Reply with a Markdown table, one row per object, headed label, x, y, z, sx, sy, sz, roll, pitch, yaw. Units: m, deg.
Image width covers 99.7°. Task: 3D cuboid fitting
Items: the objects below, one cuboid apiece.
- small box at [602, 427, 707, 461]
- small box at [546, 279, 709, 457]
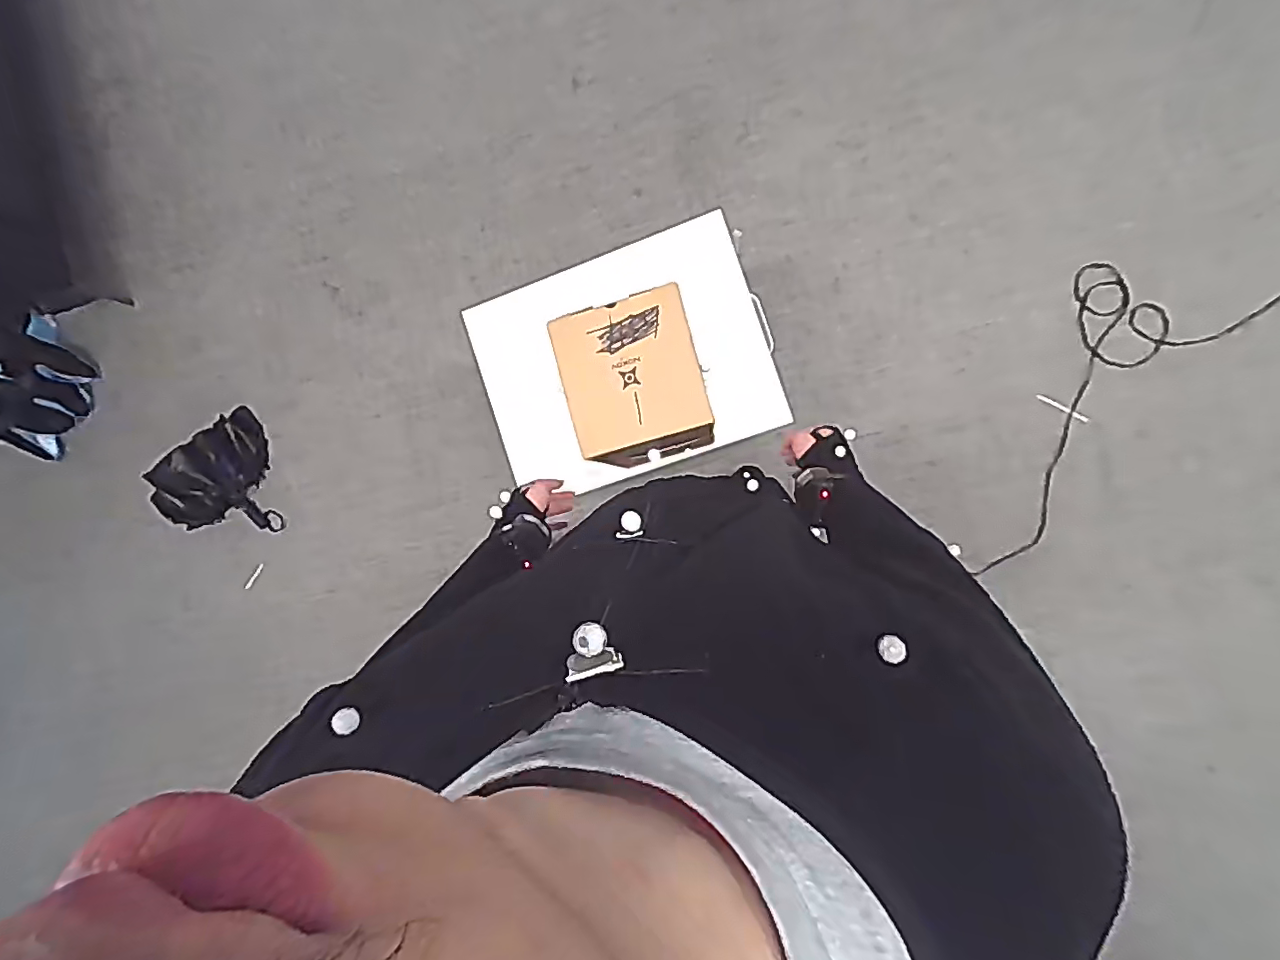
| label | x | y | z | sx | sy | sz | roll | pitch | yaw |
| --- | --- | --- | --- | --- | --- | --- | --- | --- | --- |
| small box | 0.011 | -0.134 | 0.886 | 0.168 | 0.176 | 0.179 | -16 | 86 | 6 |
| small box | -0.009 | -0.135 | 0.723 | 0.168 | 0.176 | 0.179 | -15 | 88 | 7 |
